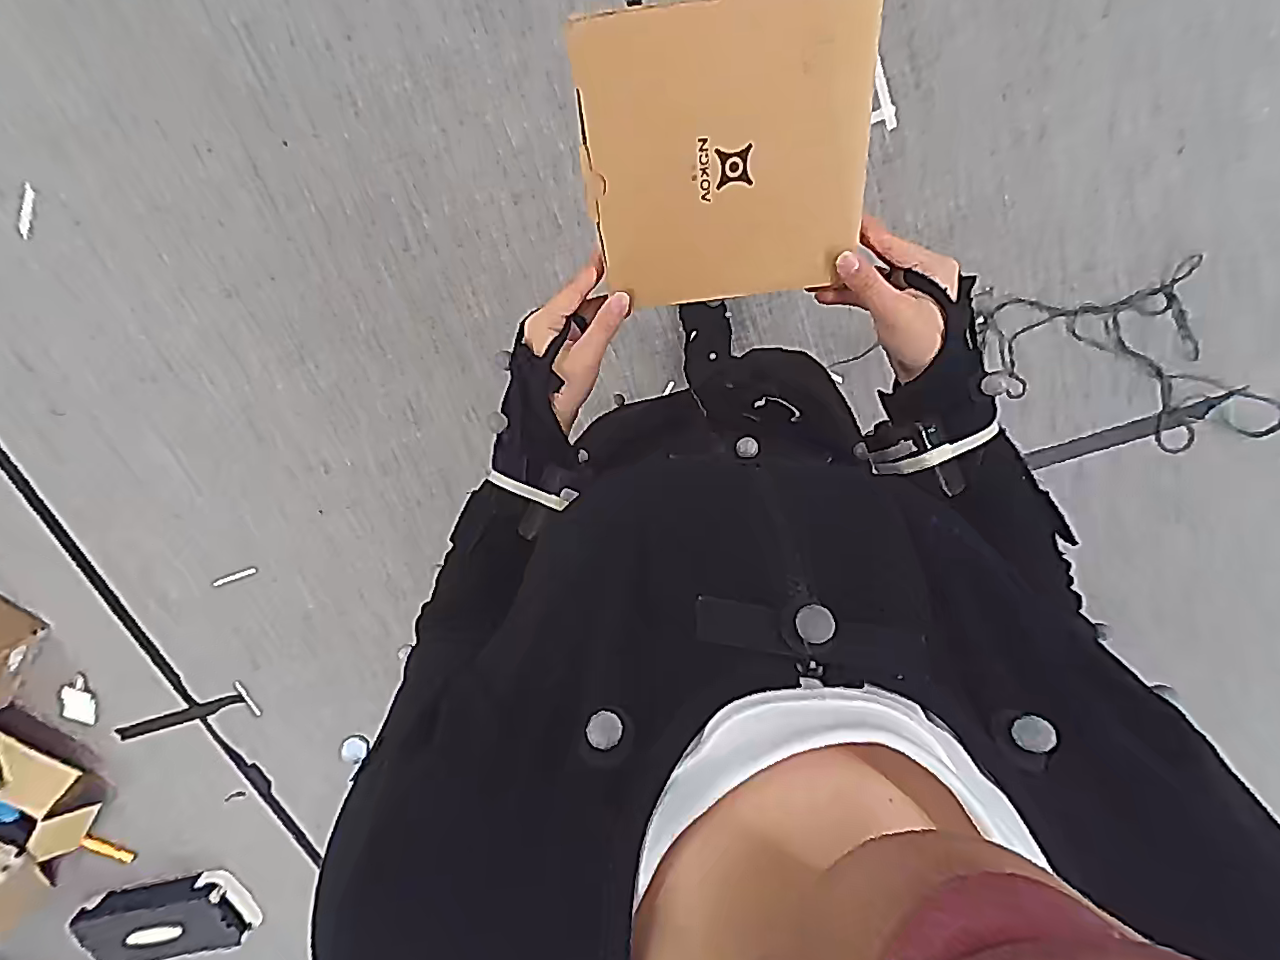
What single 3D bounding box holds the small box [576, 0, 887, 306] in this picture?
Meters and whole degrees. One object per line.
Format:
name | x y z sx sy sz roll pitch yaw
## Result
small box | 0.057 -0.247 0.408 0.179 0.176 0.168 -5 126 5
